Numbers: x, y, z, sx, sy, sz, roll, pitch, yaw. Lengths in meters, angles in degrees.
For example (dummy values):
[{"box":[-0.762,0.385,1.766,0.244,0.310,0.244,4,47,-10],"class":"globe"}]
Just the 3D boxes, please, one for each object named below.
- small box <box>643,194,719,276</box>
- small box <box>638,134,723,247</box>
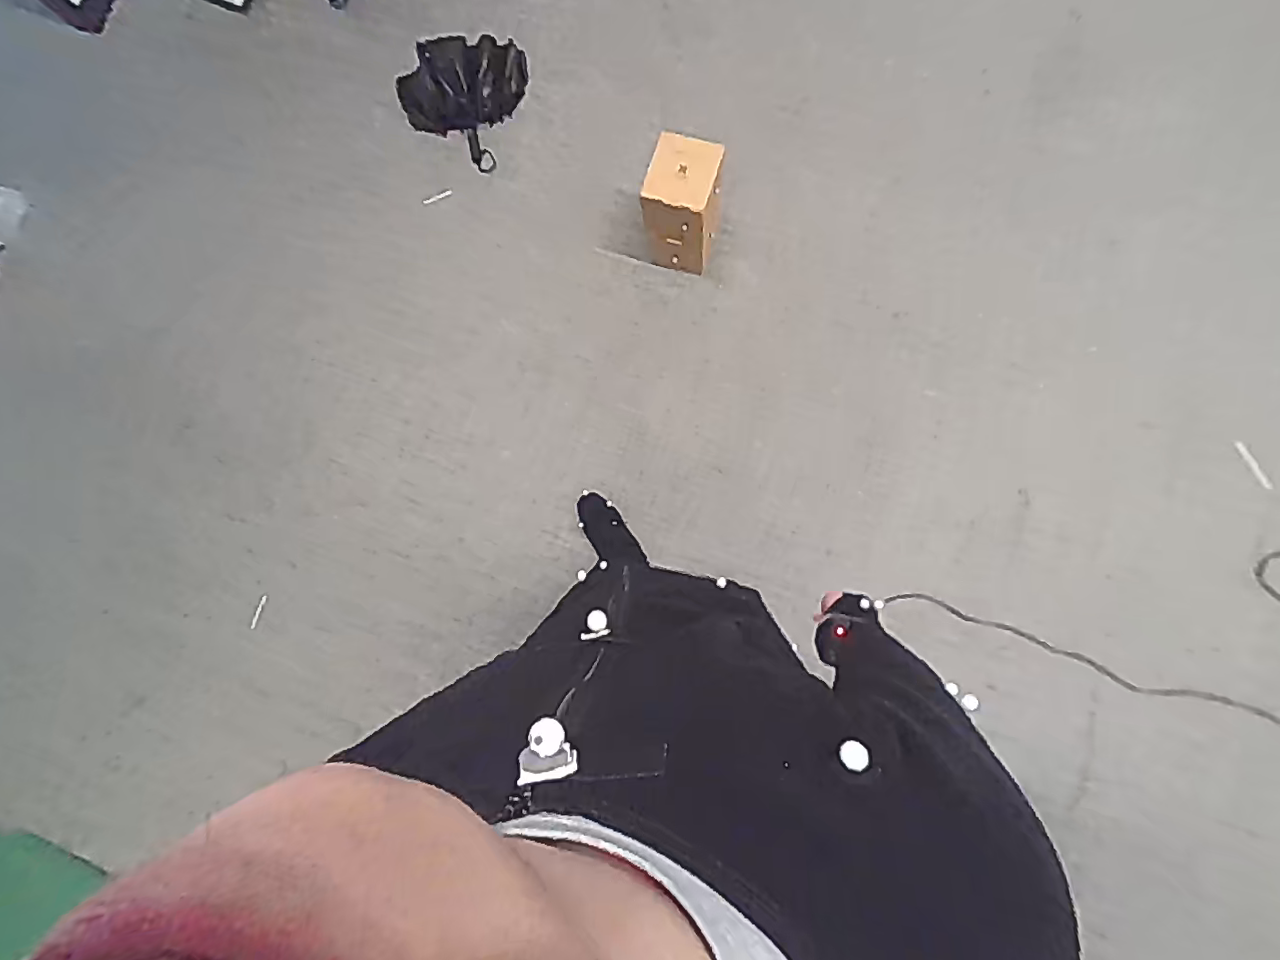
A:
[{"box":[0.121,-0.712,1.541,0.168,0.176,0.179,17,87,8],"class":"small box"},{"box":[0.105,-0.729,1.380,0.168,0.176,0.179,18,85,7],"class":"small box"}]
